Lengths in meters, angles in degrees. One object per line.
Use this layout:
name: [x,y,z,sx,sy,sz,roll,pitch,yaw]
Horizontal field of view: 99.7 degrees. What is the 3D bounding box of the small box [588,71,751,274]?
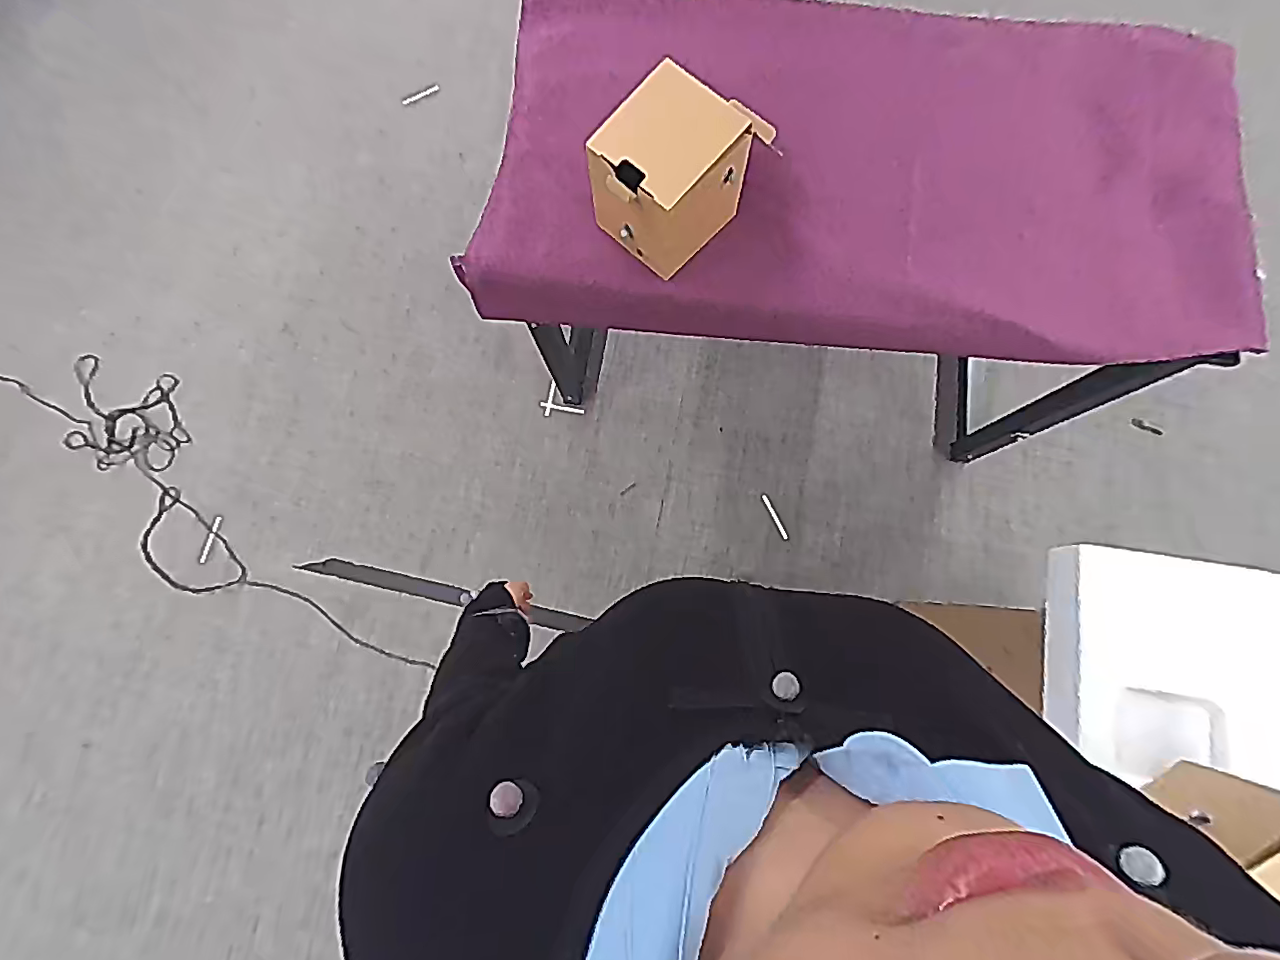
small box: [0.042,-0.464,0.837,0.168,0.176,0.179,43,82,10]
